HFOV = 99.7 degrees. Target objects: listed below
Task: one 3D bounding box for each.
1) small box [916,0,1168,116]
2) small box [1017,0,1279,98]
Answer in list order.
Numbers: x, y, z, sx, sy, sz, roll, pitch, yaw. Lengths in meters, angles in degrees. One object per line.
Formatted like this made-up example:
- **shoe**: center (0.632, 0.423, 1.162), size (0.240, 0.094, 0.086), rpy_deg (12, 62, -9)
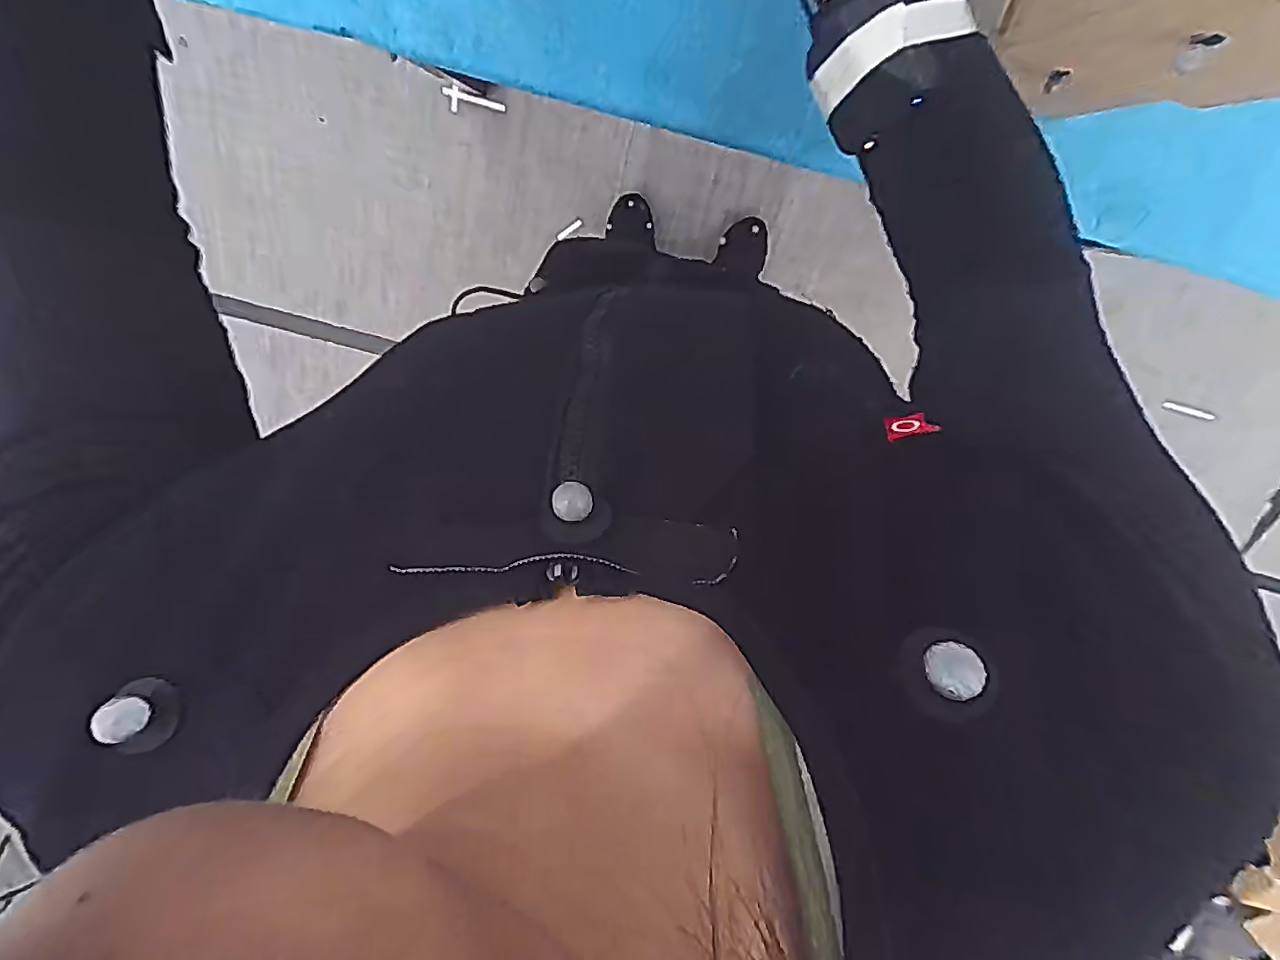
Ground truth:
- **small box**: center (0.364, -0.417, 0.438), size (0.179, 0.176, 0.168), rpy_deg (13, 118, -5)
- **small box**: center (0.365, -0.334, 0.299), size (0.179, 0.176, 0.168), rpy_deg (9, 118, -4)
